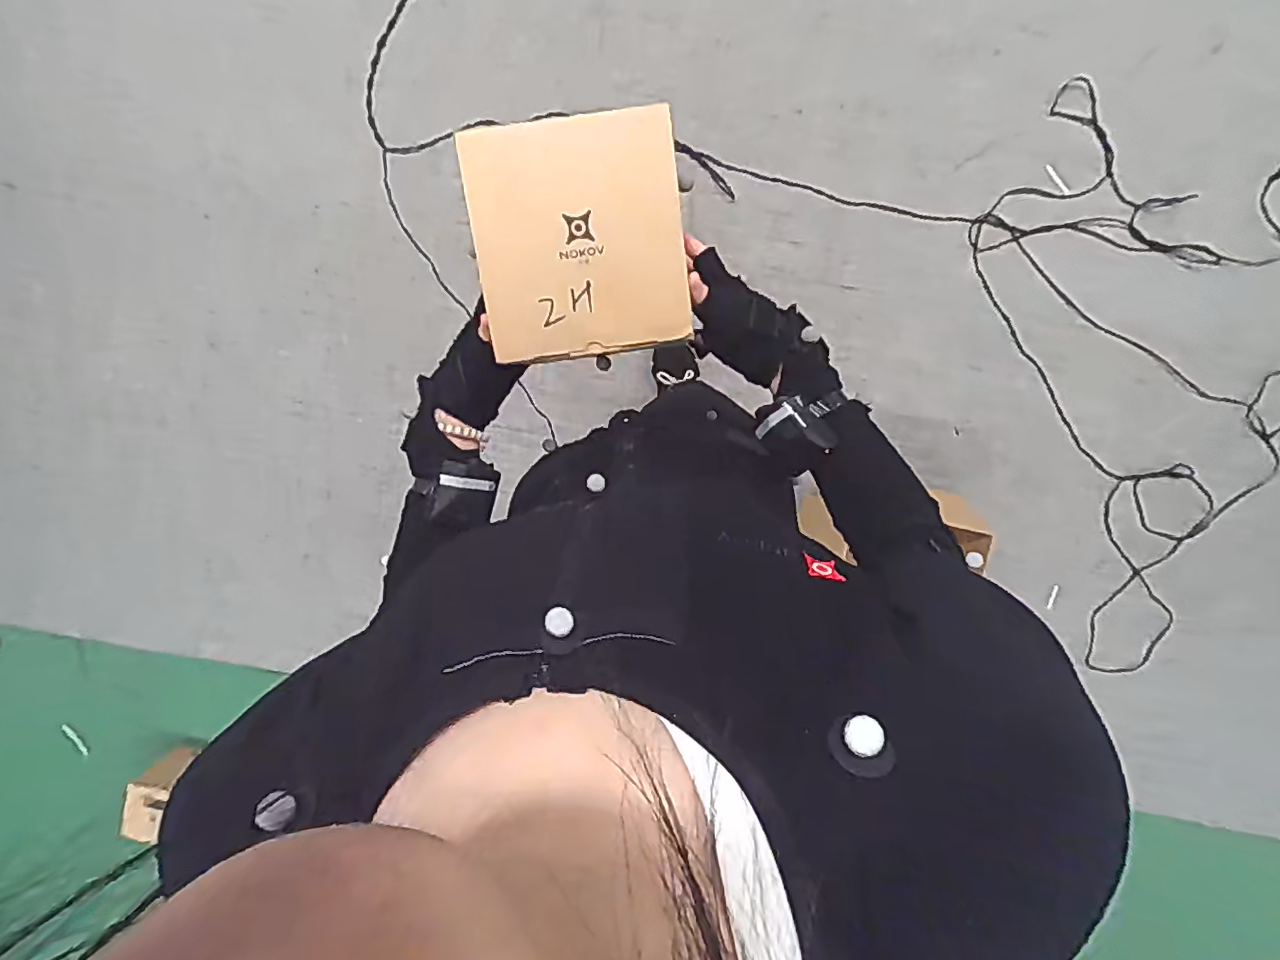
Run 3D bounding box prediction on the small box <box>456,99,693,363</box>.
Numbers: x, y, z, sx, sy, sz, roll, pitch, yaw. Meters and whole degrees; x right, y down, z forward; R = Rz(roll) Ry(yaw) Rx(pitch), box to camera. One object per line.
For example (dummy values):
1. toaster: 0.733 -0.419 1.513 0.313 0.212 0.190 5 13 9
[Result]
1. small box: -0.049 -0.205 0.495 0.168 0.176 0.179 -7 102 1
